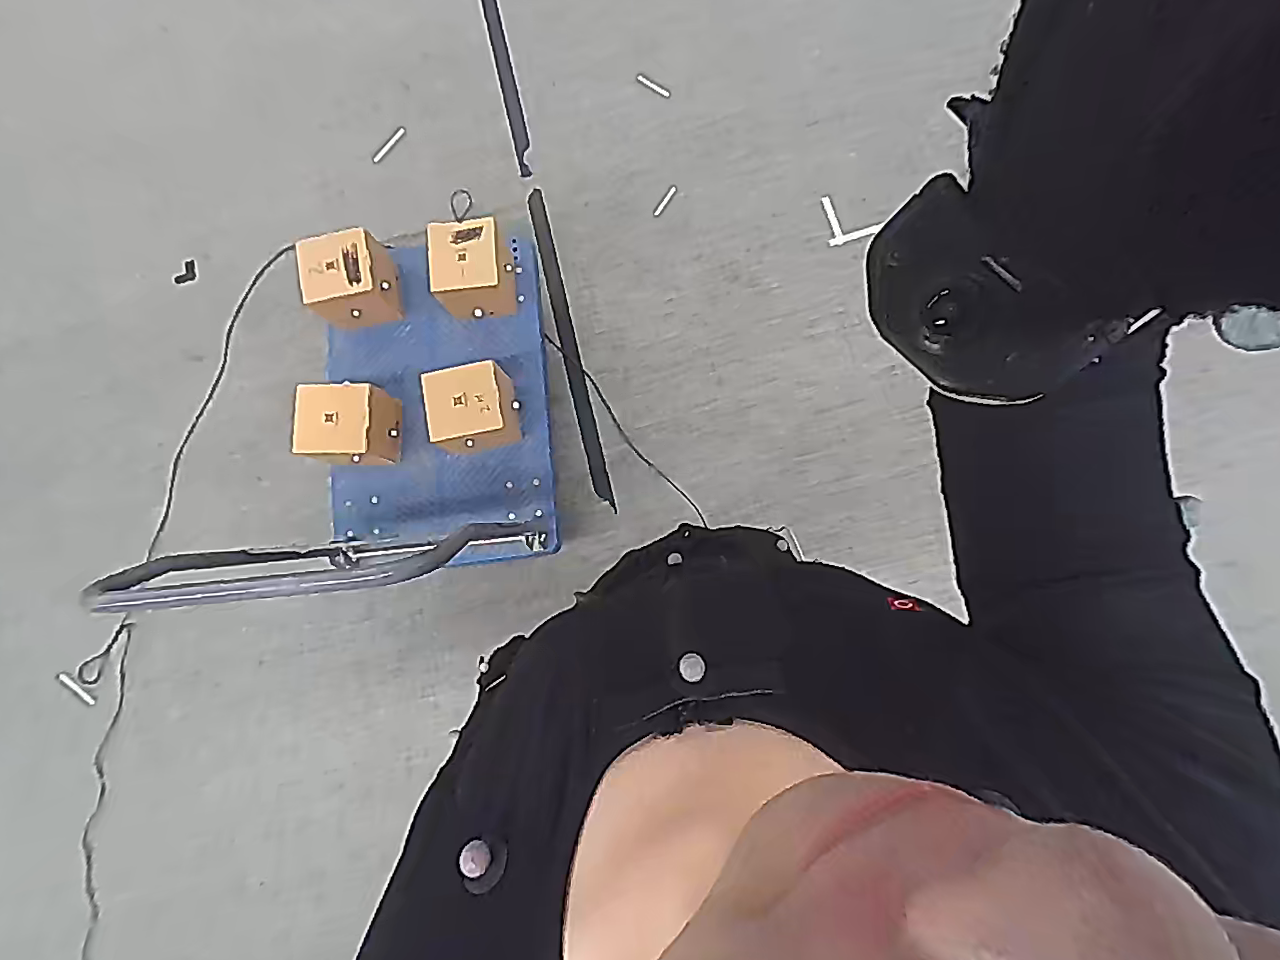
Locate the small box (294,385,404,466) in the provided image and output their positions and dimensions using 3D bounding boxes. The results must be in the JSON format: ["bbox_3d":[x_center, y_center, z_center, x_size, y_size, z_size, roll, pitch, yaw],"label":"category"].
[{"bbox_3d":[-0.709,-0.129,1.329,0.179,0.176,0.168,-1,82,1],"label":"small box"}]

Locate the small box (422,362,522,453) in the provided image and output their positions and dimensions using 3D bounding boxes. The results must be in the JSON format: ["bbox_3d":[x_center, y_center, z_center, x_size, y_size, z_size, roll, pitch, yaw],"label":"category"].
[{"bbox_3d":[-0.404,-0.169,1.319,0.179,0.176,0.168,-11,83,1],"label":"small box"}]

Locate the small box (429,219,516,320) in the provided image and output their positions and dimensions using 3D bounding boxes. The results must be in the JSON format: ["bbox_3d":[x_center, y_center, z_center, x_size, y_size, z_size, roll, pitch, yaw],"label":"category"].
[{"bbox_3d":[-0.418,-0.525,1.364,0.168,0.176,0.179,-5,84,2],"label":"small box"}]
